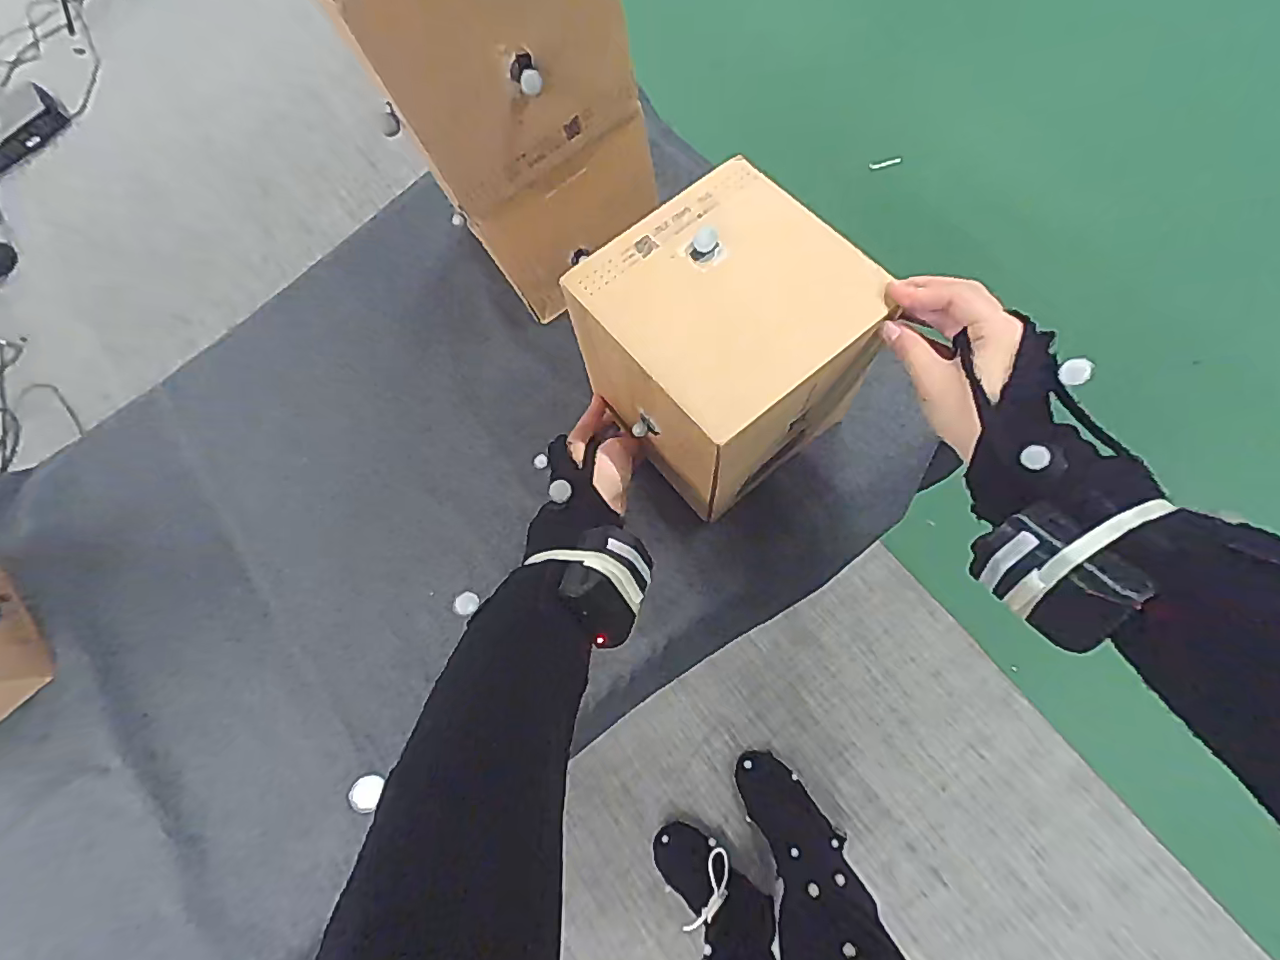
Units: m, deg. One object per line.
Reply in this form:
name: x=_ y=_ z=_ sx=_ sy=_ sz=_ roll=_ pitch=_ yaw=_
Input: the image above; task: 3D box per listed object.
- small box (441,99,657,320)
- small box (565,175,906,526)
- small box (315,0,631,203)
small box: x=-0.100 y=-0.297 z=0.535 sx=0.168 sy=0.176 sz=0.179 roll=-36 pitch=74 yaw=-1
small box: x=0.063 y=-0.094 z=0.434 sx=0.168 sy=0.179 sz=0.176 roll=-38 pitch=71 yaw=-10
small box: x=-0.124 y=-0.332 z=0.377 sx=0.168 sy=0.176 sz=0.179 roll=-35 pitch=74 yaw=-1
